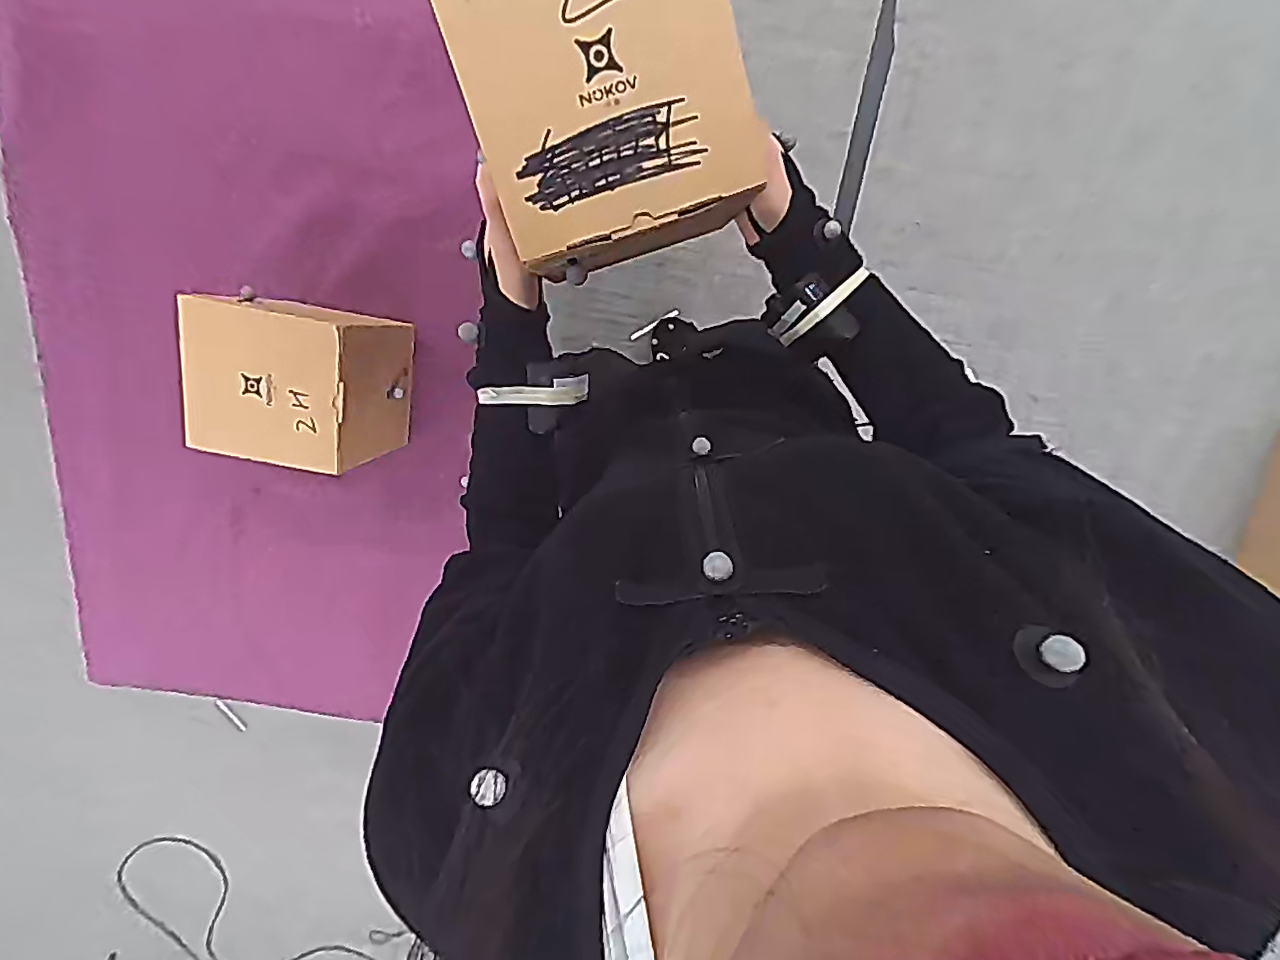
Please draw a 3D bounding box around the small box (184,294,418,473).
[{"bbox_3d":[-0.397,-0.122,0.657,0.179,0.176,0.168,10,107,0],"label":"small box"}]
